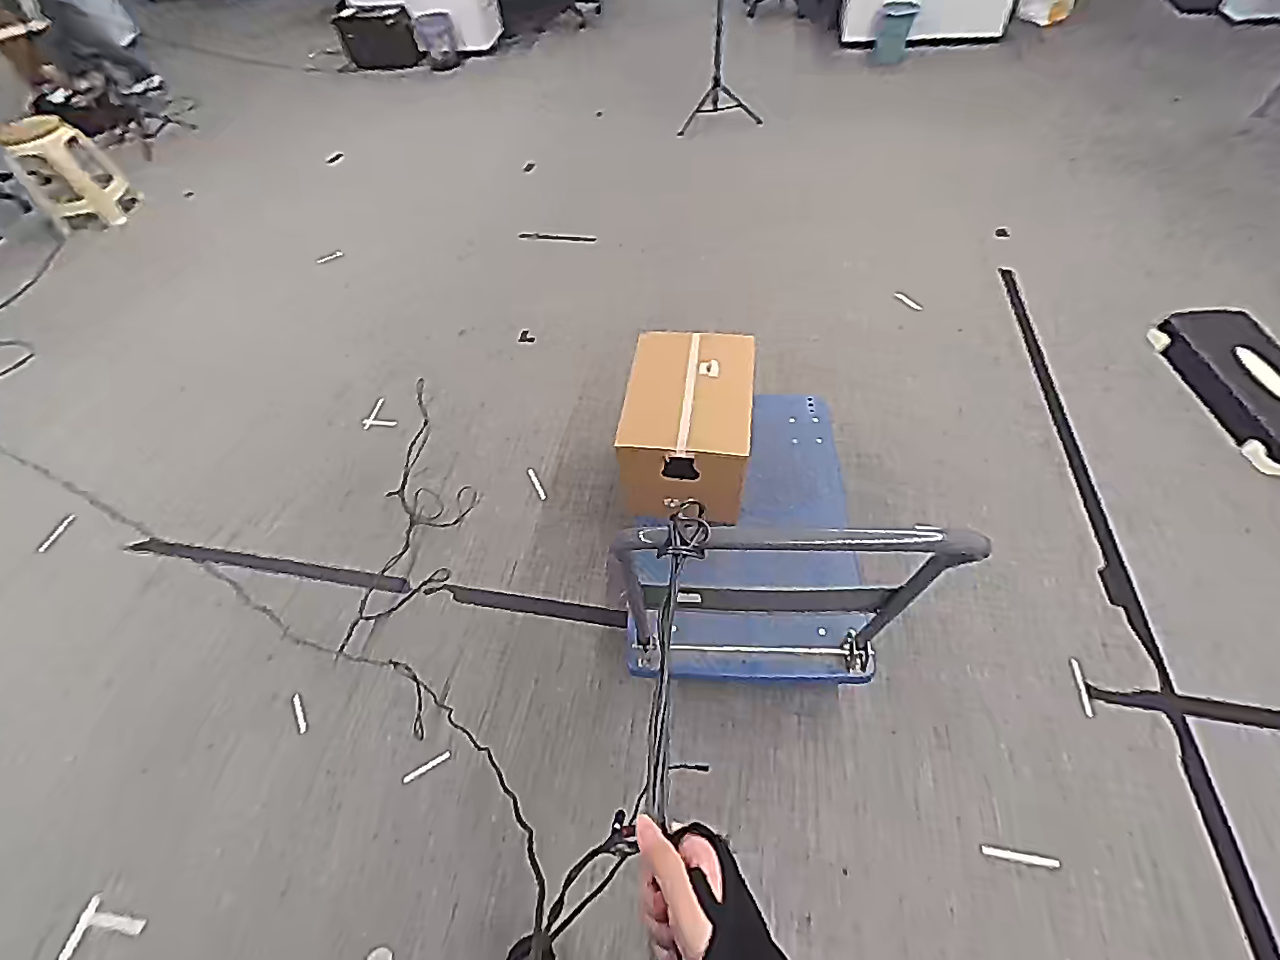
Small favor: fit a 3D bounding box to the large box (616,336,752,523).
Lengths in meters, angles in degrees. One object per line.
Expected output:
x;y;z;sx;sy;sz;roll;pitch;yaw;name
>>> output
0.129;-0.133;1.463;0.320;0.320;0.408;5;55;7;large box
